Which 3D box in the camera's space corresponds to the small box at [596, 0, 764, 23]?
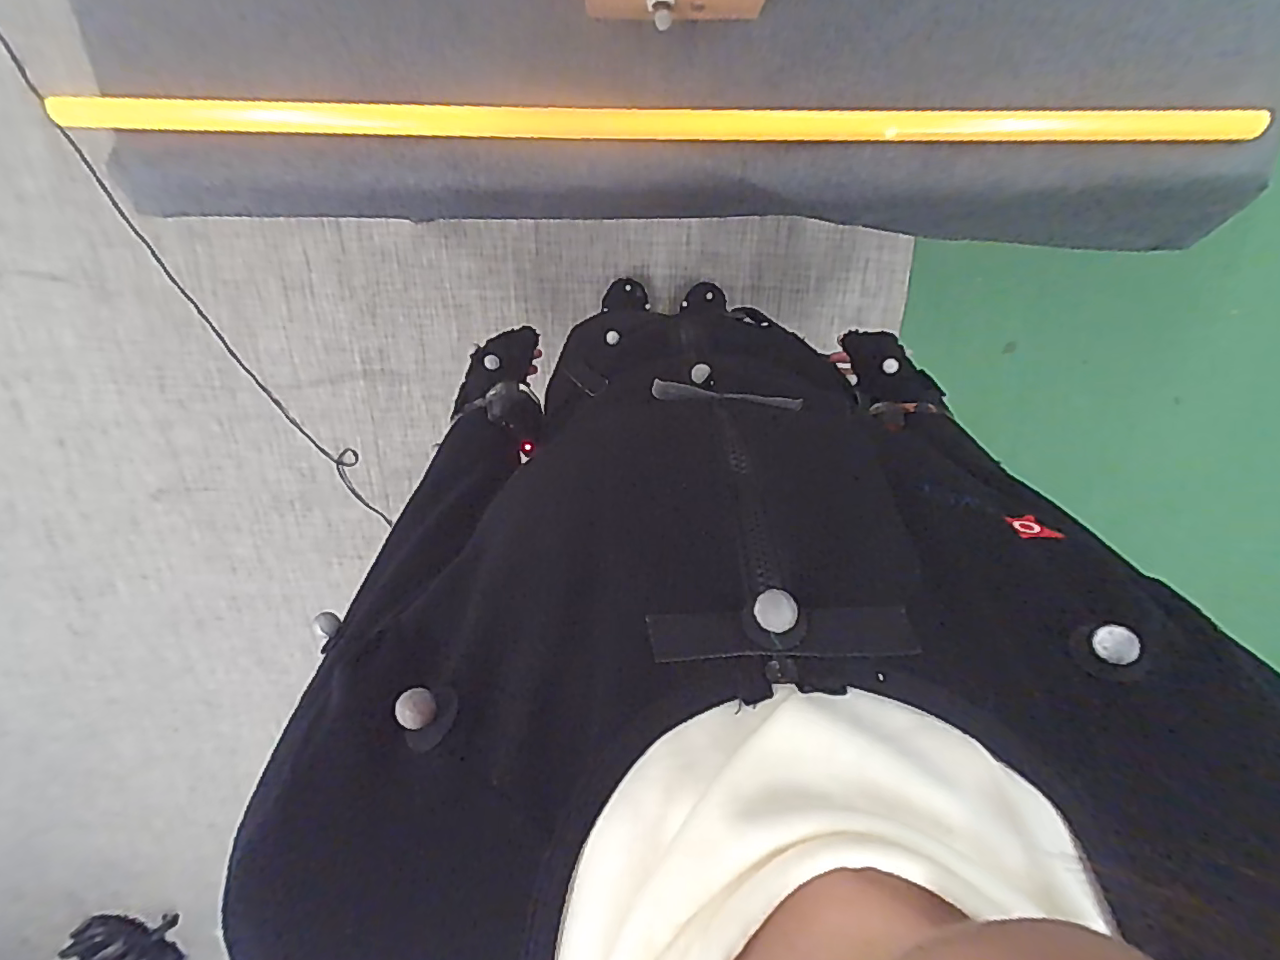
[{"bbox_3d":[0.034,-0.502,0.424,0.168,0.176,0.179,-1,112,1],"label":"small box"}]
